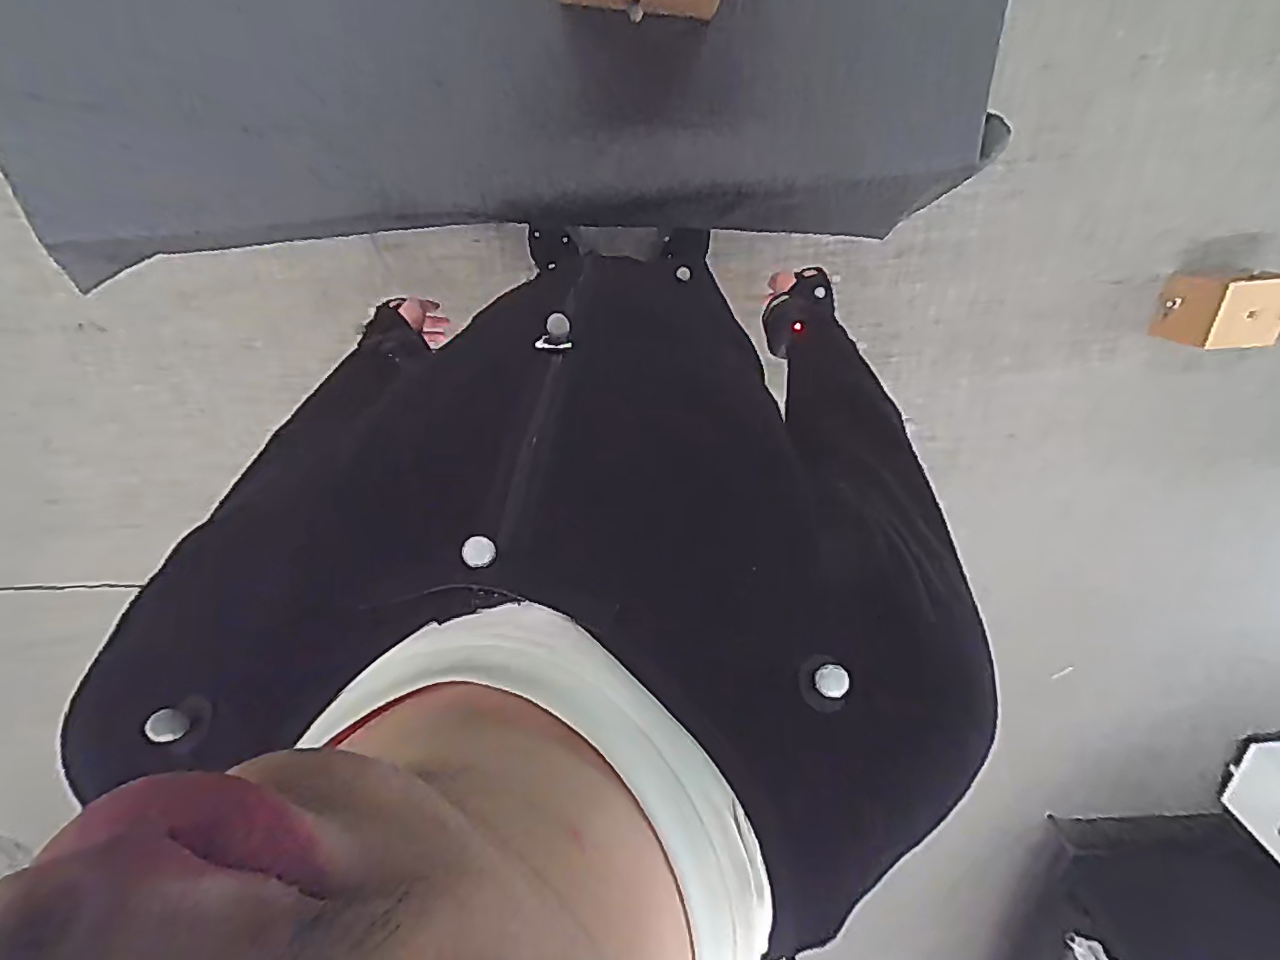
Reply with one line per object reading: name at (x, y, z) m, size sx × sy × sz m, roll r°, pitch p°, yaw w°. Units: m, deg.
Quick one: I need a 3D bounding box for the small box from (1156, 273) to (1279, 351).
small box at (1.497, -0.432, 1.377) m, size 0.179 × 0.176 × 0.168 m, roll -2°, pitch 116°, yaw 1°

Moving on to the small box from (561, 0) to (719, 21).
small box at (0.004, -0.551, 0.497) m, size 0.179 × 0.176 × 0.168 m, roll 3°, pitch 118°, yaw -3°
